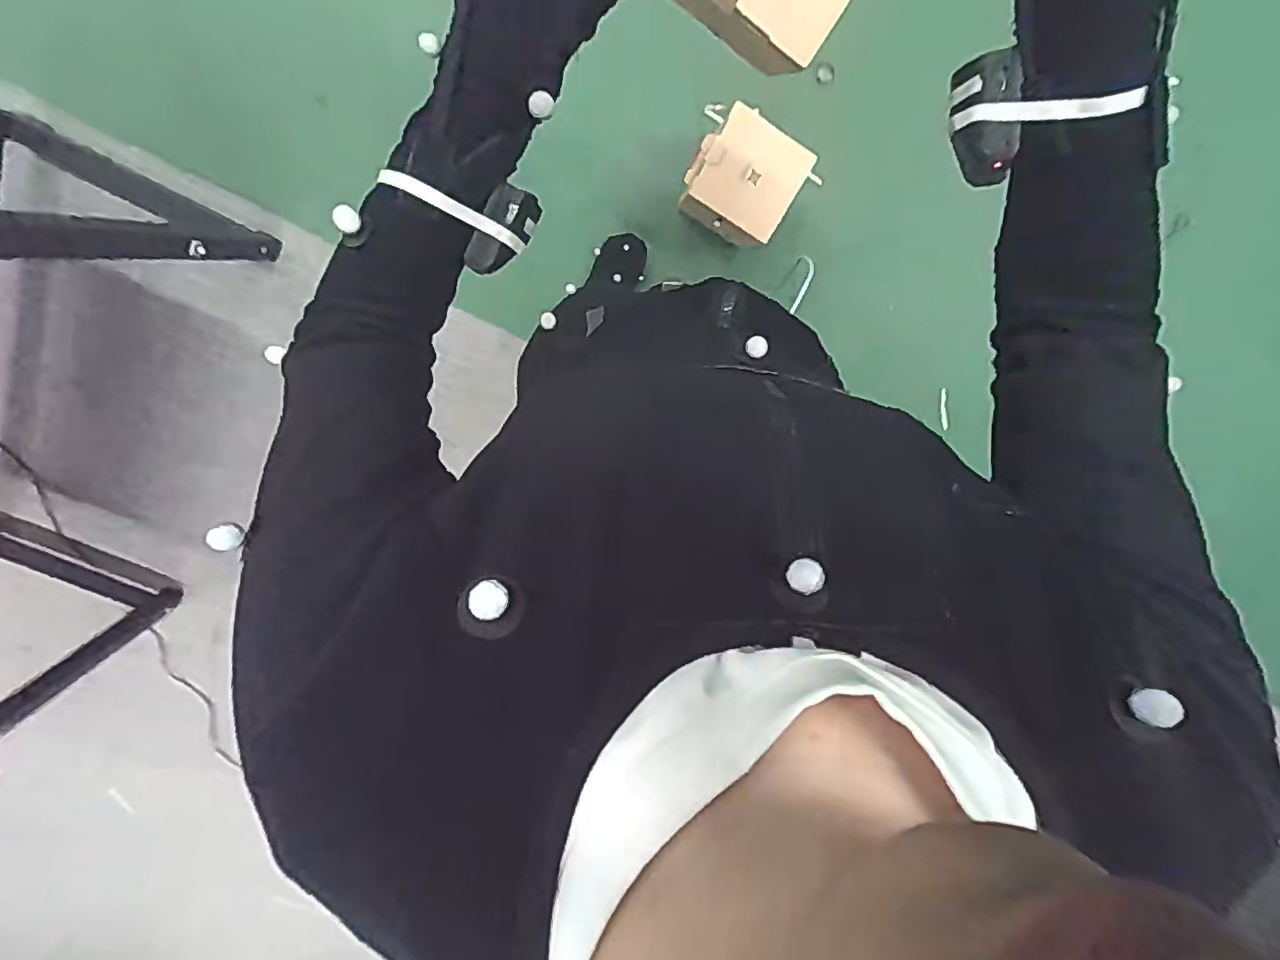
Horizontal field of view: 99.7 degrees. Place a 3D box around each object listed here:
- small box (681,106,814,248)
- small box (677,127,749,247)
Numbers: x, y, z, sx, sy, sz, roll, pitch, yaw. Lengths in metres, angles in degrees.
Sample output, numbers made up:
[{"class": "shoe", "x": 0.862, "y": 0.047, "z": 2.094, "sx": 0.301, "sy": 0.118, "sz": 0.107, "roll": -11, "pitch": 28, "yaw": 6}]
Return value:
[{"class": "small box", "x": 0.197, "y": -0.571, "z": 1.043, "sx": 0.179, "sy": 0.176, "sz": 0.168, "roll": 28, "pitch": 109, "yaw": -11}, {"class": "small box", "x": 0.197, "y": -0.637, "z": 1.193, "sx": 0.179, "sy": 0.176, "sz": 0.168, "roll": 27, "pitch": 108, "yaw": -11}]
